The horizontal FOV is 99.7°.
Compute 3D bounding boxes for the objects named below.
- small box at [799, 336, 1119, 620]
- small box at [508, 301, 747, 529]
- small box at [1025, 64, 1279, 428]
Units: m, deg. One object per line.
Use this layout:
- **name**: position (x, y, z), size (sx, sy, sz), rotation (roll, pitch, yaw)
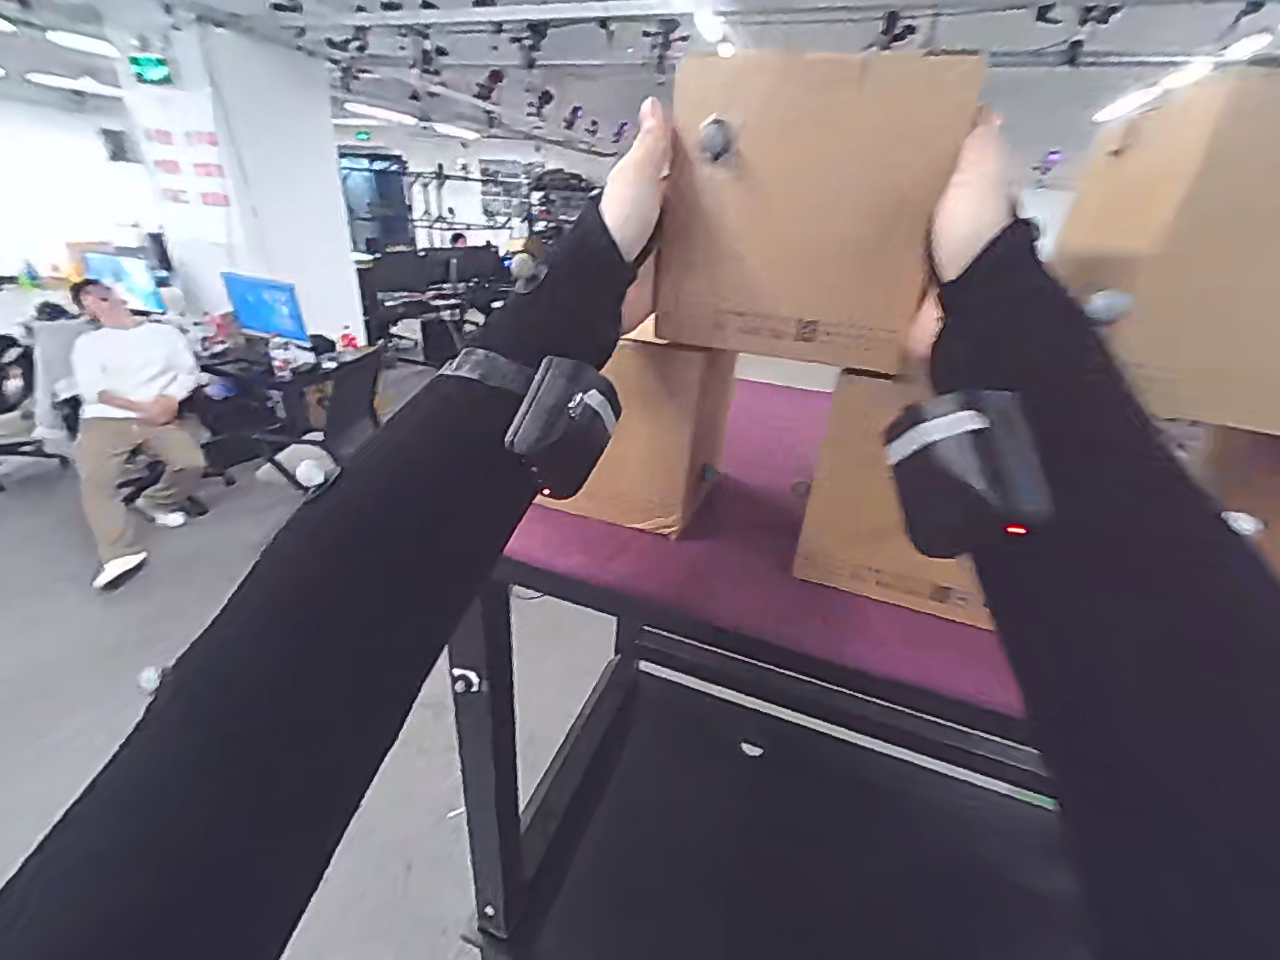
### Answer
- **small box**: position (0.234, -0.013, 0.447), size (0.168, 0.176, 0.179), rotation (13, 26, 17)
- **small box**: position (-0.009, -0.070, 0.523), size (0.179, 0.176, 0.168), rotation (14, 27, 16)
- **small box**: position (0.379, -0.133, 0.341), size (0.179, 0.176, 0.168), rotation (14, 26, 15)
